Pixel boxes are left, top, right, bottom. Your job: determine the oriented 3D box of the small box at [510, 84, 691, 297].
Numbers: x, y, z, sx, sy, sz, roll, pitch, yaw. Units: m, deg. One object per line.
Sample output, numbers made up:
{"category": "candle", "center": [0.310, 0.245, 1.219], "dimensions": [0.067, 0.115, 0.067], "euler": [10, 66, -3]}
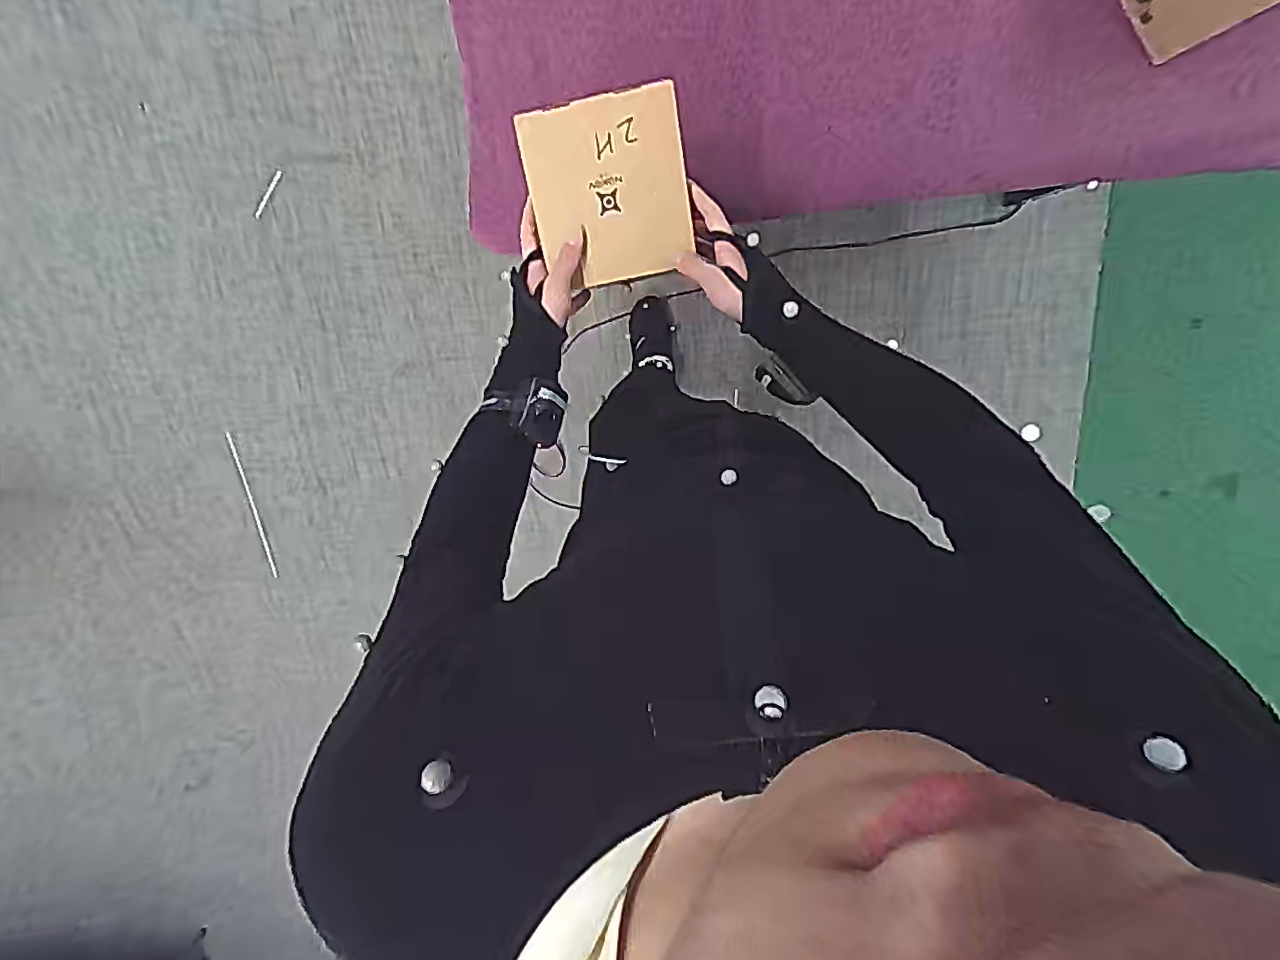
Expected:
{"category": "small box", "center": [-0.032, -0.322, 0.634], "dimensions": [0.168, 0.176, 0.179], "euler": [-8, 110, 6]}
